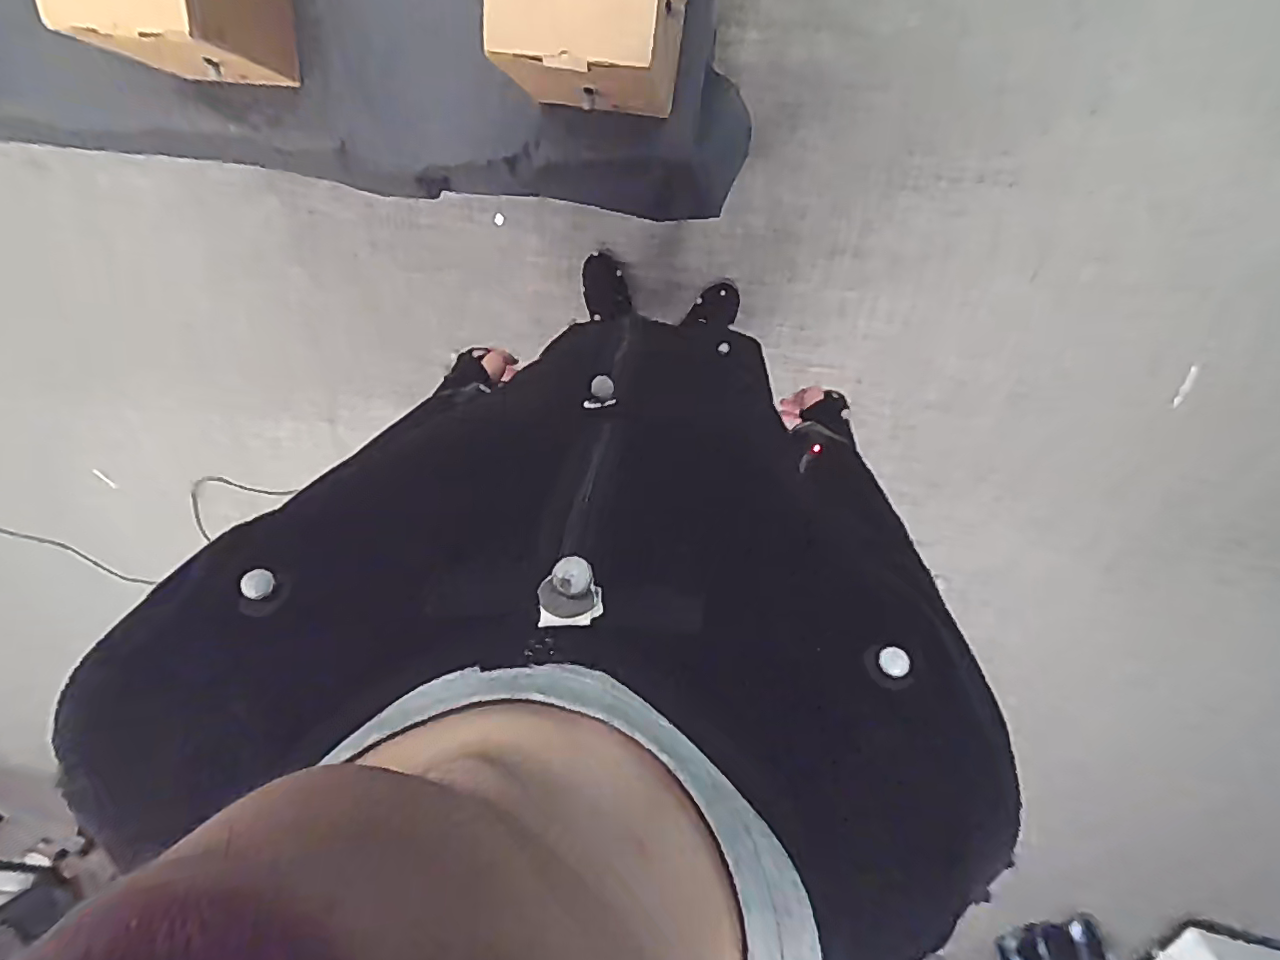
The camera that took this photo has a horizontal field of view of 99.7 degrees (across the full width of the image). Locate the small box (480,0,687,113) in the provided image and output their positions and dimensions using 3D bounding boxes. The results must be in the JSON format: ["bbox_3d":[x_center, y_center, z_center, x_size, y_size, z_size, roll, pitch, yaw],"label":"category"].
[{"bbox_3d":[-0.044,-0.490,0.537,0.168,0.176,0.179,11,112,6],"label":"small box"}]

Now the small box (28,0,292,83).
[{"bbox_3d":[-0.510,-0.556,0.581,0.168,0.176,0.179,7,111,4],"label":"small box"}]
